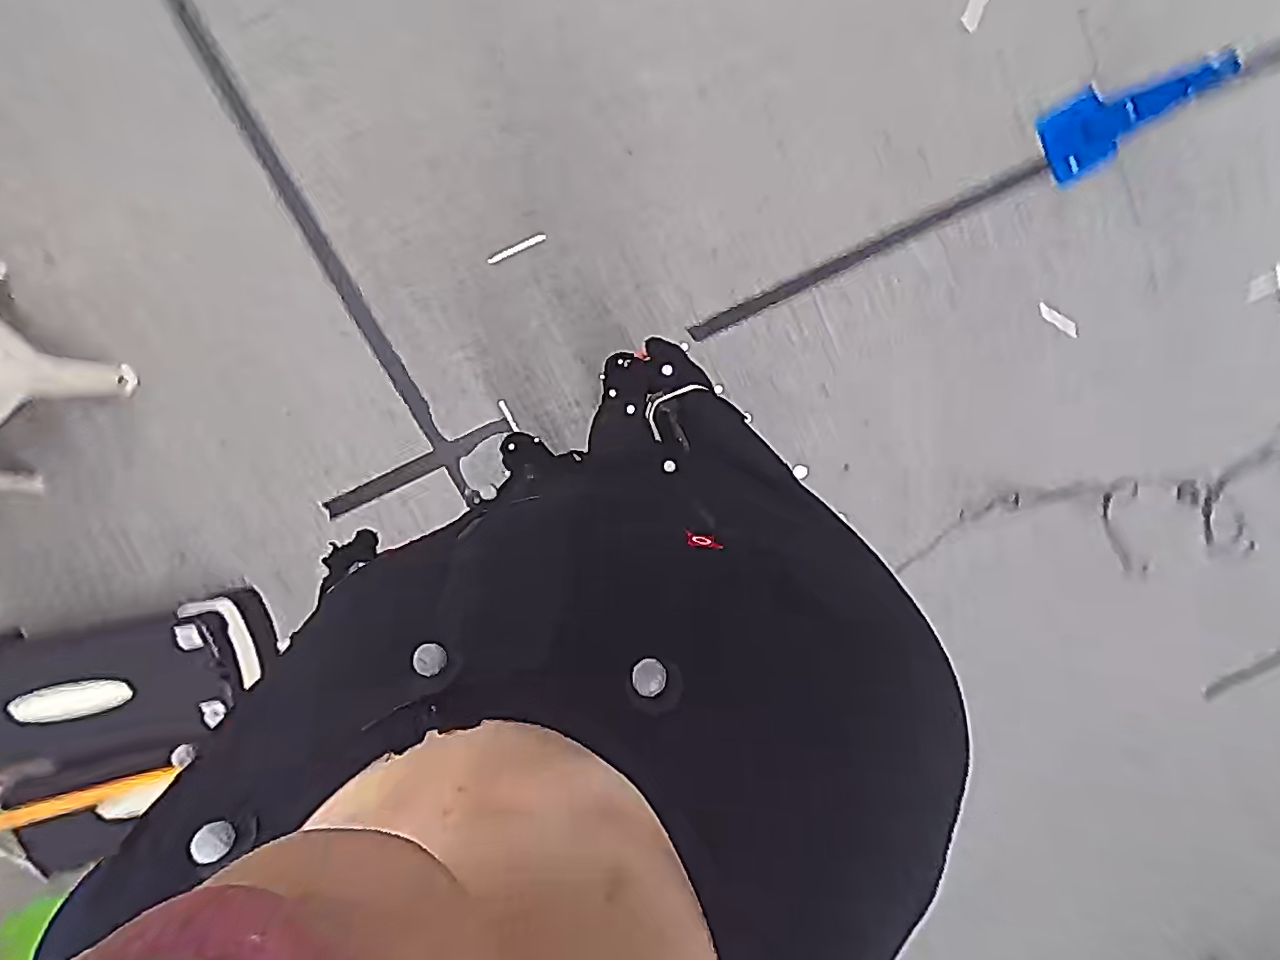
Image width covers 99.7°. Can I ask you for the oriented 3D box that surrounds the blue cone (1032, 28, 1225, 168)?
[{"bbox_3d":[1.204,-0.953,1.325,0.193,0.380,0.192,-31,101,-2],"label":"blue cone"}]
